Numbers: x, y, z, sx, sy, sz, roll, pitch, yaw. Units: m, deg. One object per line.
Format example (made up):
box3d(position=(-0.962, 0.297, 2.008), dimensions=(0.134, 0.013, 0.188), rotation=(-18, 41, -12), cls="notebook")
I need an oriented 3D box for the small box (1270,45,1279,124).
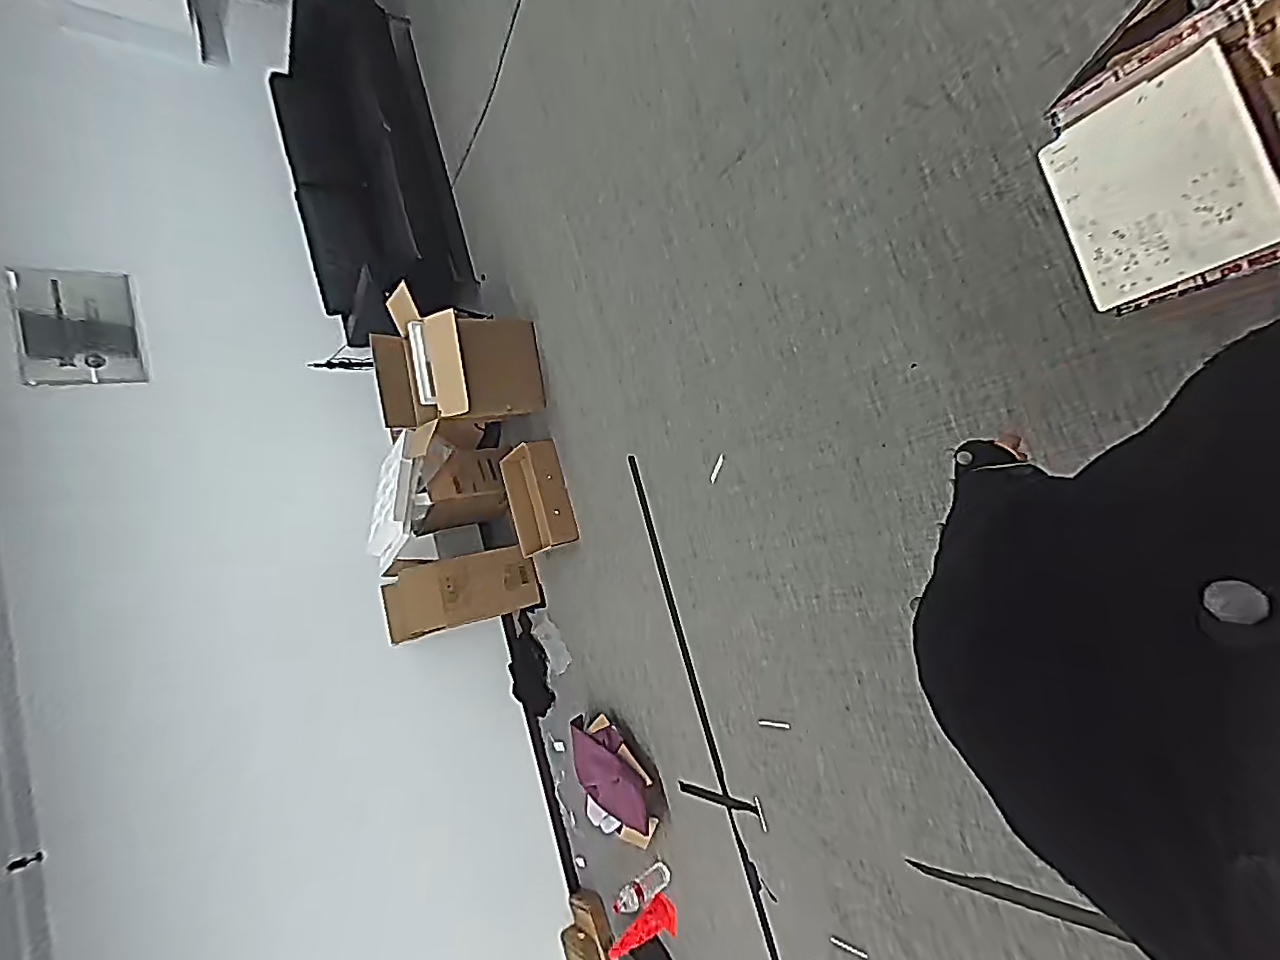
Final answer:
box3d(position=(0.775, -0.396, 0.528), dimensions=(0.179, 0.176, 0.168), rotation=(-26, 79, 51), cls="small box")
